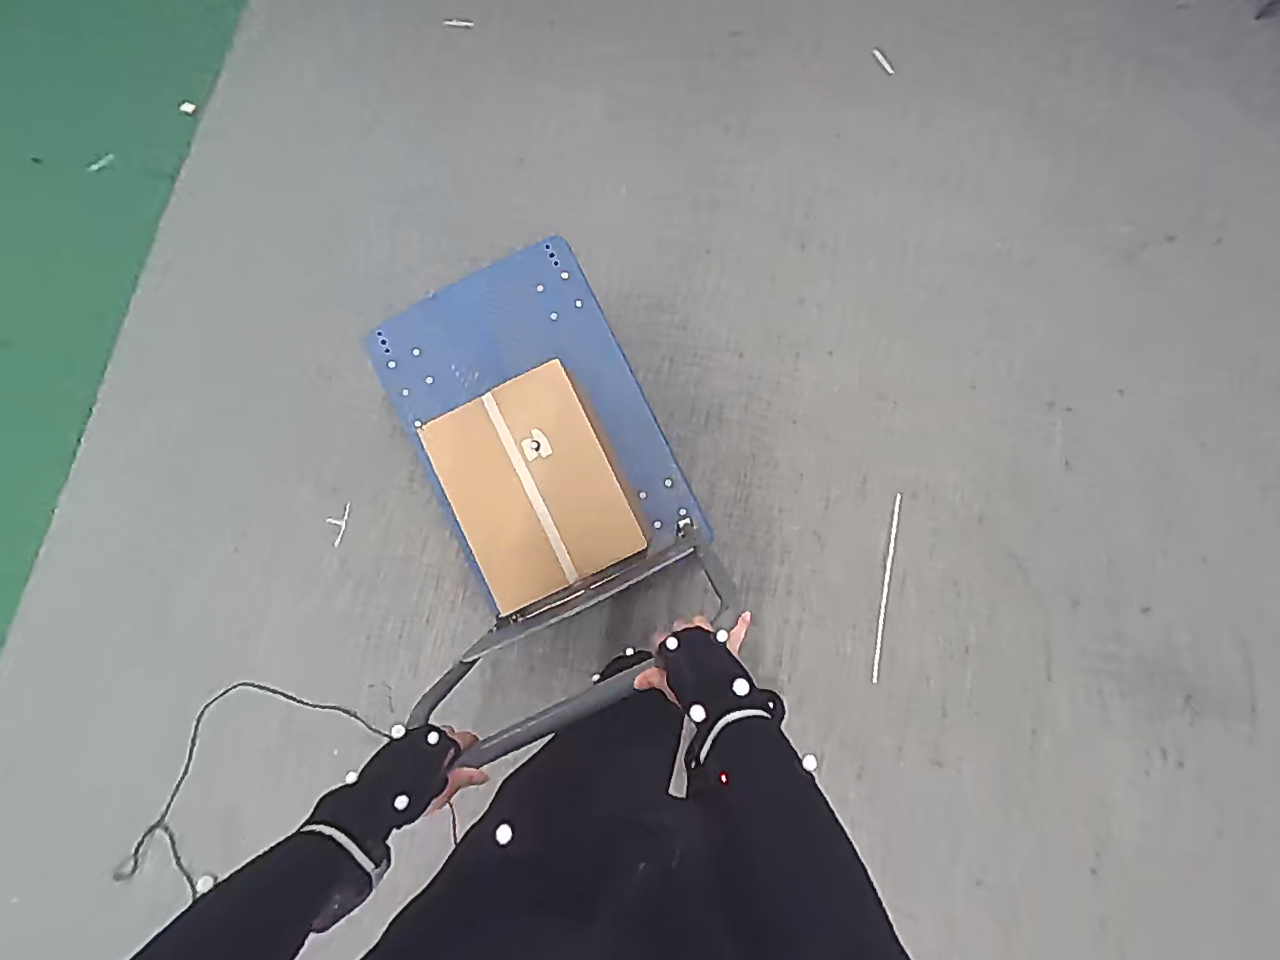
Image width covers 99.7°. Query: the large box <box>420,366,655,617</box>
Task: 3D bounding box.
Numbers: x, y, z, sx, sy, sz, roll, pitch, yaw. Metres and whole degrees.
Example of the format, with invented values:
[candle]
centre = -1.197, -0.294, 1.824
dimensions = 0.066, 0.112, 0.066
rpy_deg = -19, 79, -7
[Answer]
[large box]
centre = -0.195, 0.029, 1.183
dimensions = 0.320, 0.320, 0.408
rpy_deg = -27, 85, 2
